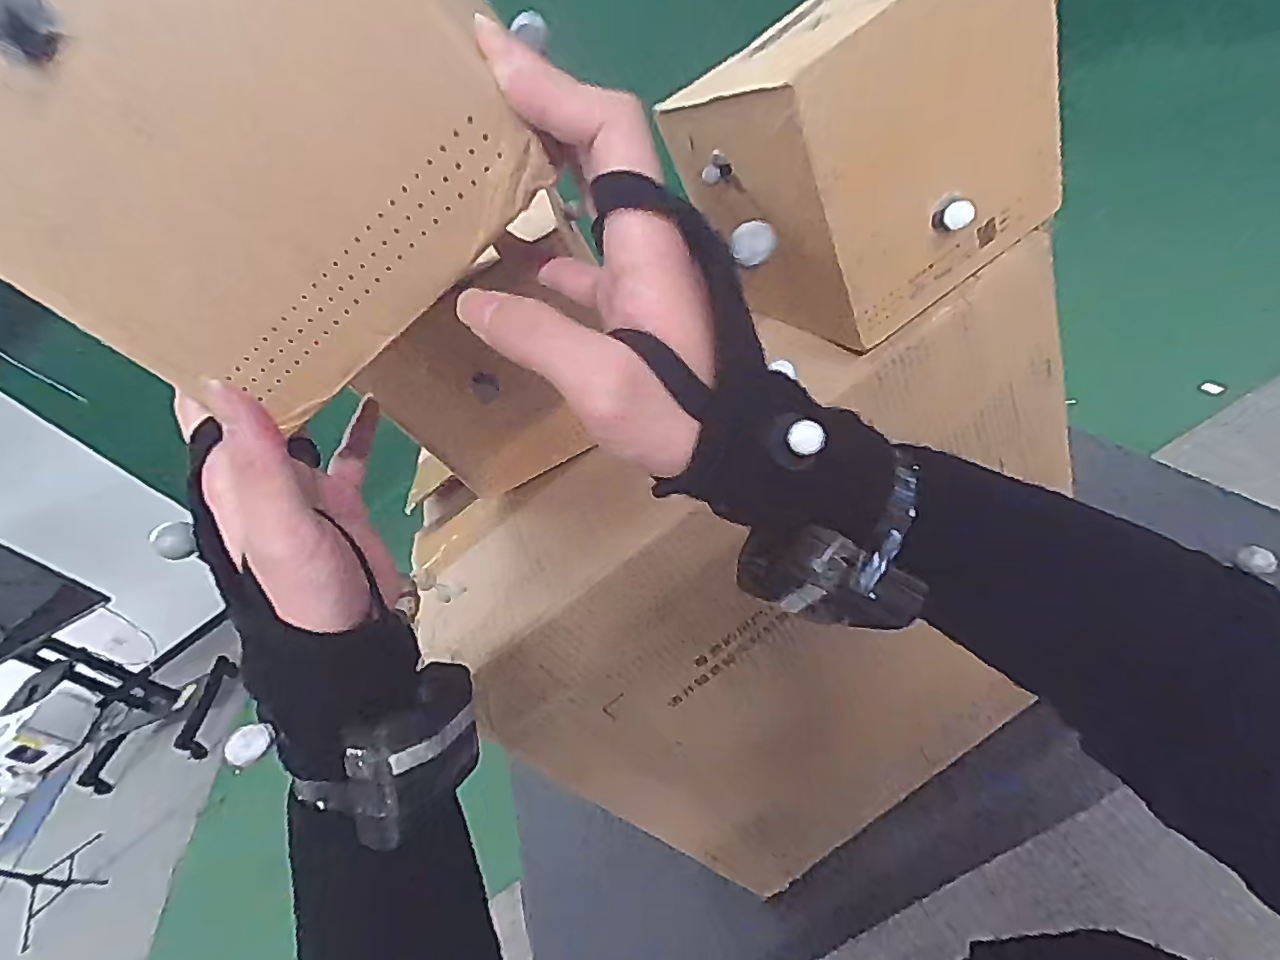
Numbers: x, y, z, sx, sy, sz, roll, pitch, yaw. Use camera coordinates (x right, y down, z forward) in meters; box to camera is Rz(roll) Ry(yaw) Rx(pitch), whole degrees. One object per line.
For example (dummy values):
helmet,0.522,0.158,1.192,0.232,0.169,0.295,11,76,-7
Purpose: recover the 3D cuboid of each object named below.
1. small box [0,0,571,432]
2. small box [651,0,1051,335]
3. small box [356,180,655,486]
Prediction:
small box,-0.149,-0.152,0.223,0.179,0.176,0.168,-32,38,20
small box,0.139,-0.226,0.374,0.168,0.176,0.179,-36,37,0
small box,-0.112,-0.124,0.441,0.179,0.176,0.168,-27,48,10
